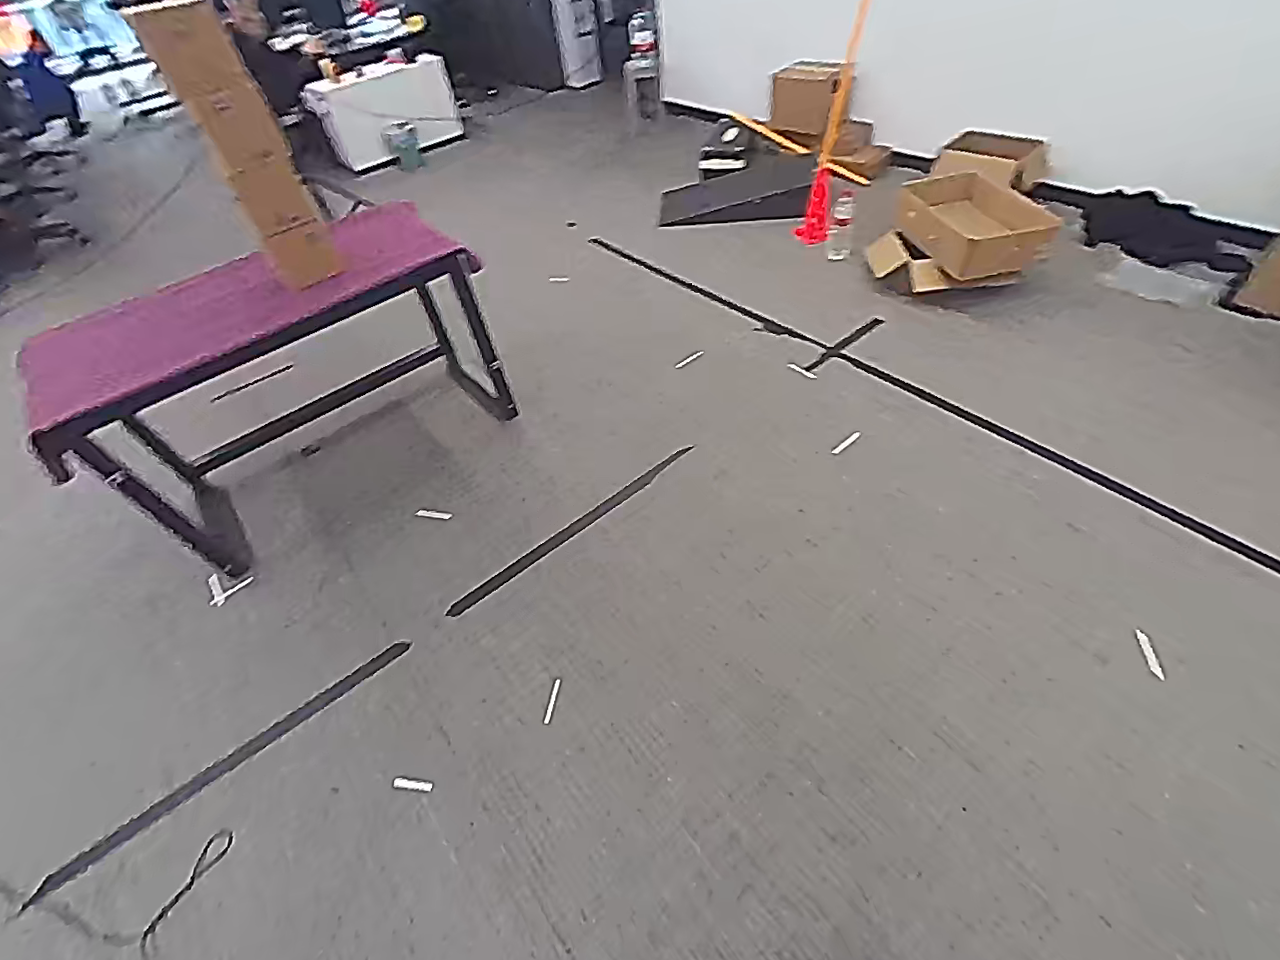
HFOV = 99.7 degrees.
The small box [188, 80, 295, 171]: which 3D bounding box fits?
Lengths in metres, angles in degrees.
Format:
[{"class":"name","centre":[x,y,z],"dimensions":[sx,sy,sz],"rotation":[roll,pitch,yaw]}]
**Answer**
[{"class":"small box","centre":[-1.074,-0.956,1.455],"dimensions":[0.168,0.176,0.179],"rotation":[-36,53,-22]}]

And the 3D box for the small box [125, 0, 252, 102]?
[{"class":"small box","centre":[-1.105,-1.066,1.338],"dimensions":[0.179,0.176,0.168],"rotation":[-37,54,-22]}]

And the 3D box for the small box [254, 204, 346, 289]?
[{"class":"small box","centre":[-1.054,-0.731,1.693],"dimensions":[0.179,0.176,0.168],"rotation":[-36,53,-21]}]
